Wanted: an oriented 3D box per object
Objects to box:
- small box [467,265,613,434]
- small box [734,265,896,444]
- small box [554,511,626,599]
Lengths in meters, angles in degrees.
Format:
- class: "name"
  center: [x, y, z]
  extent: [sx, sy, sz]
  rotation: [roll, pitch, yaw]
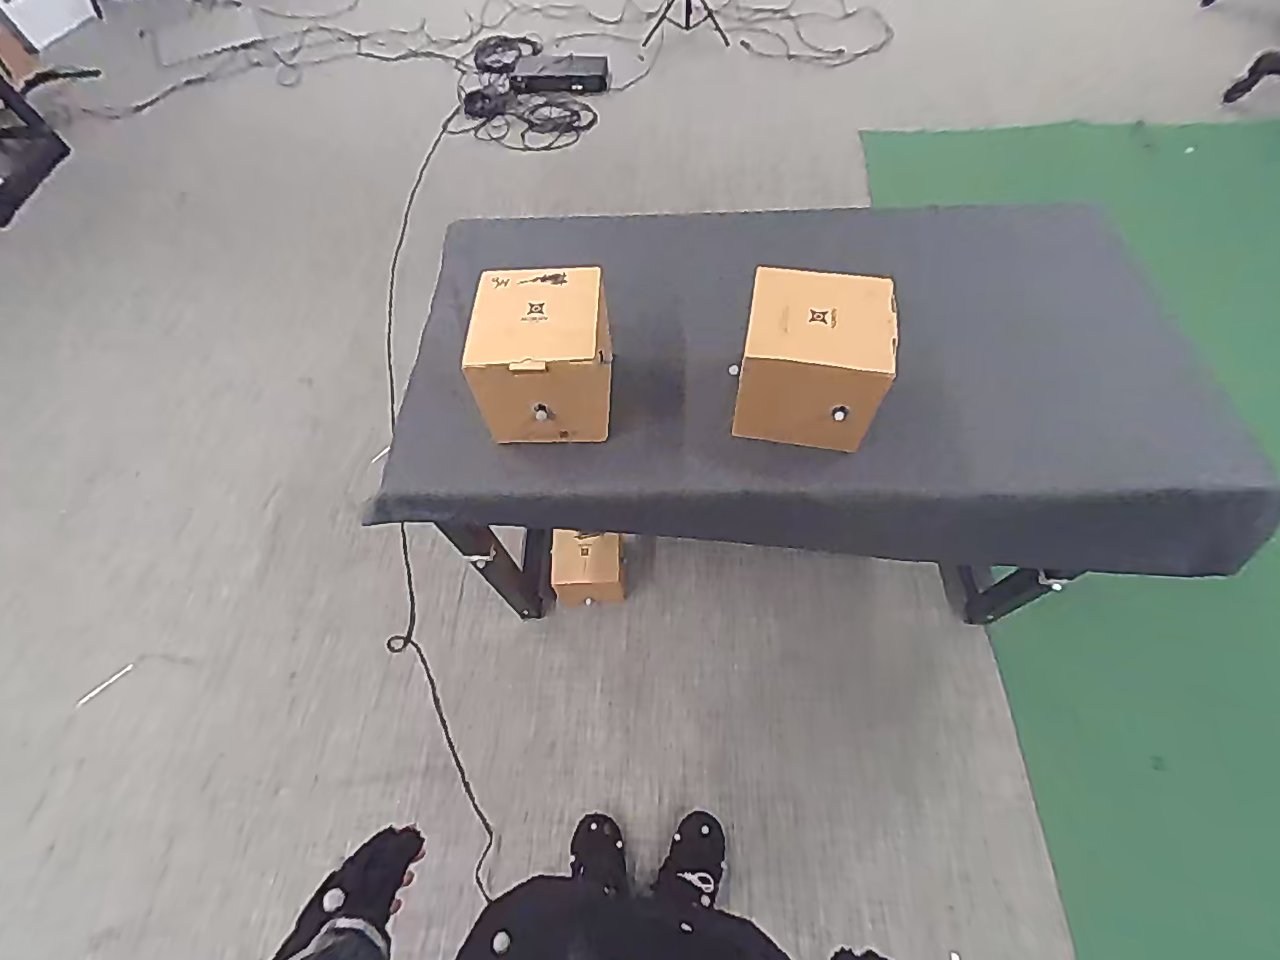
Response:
- class: "small box"
  center: [-0.127, -0.176, 0.767]
  extent: [0.168, 0.176, 0.179]
  rotation: [-1, 60, 2]
- class: "small box"
  center: [0.232, -0.166, 0.744]
  extent: [0.179, 0.176, 0.168]
  rotation: [7, 60, 9]
- class: "small box"
  center: [-0.124, 0.197, 1.396]
  extent: [0.168, 0.176, 0.179]
  rotation: [-3, 61, 2]
